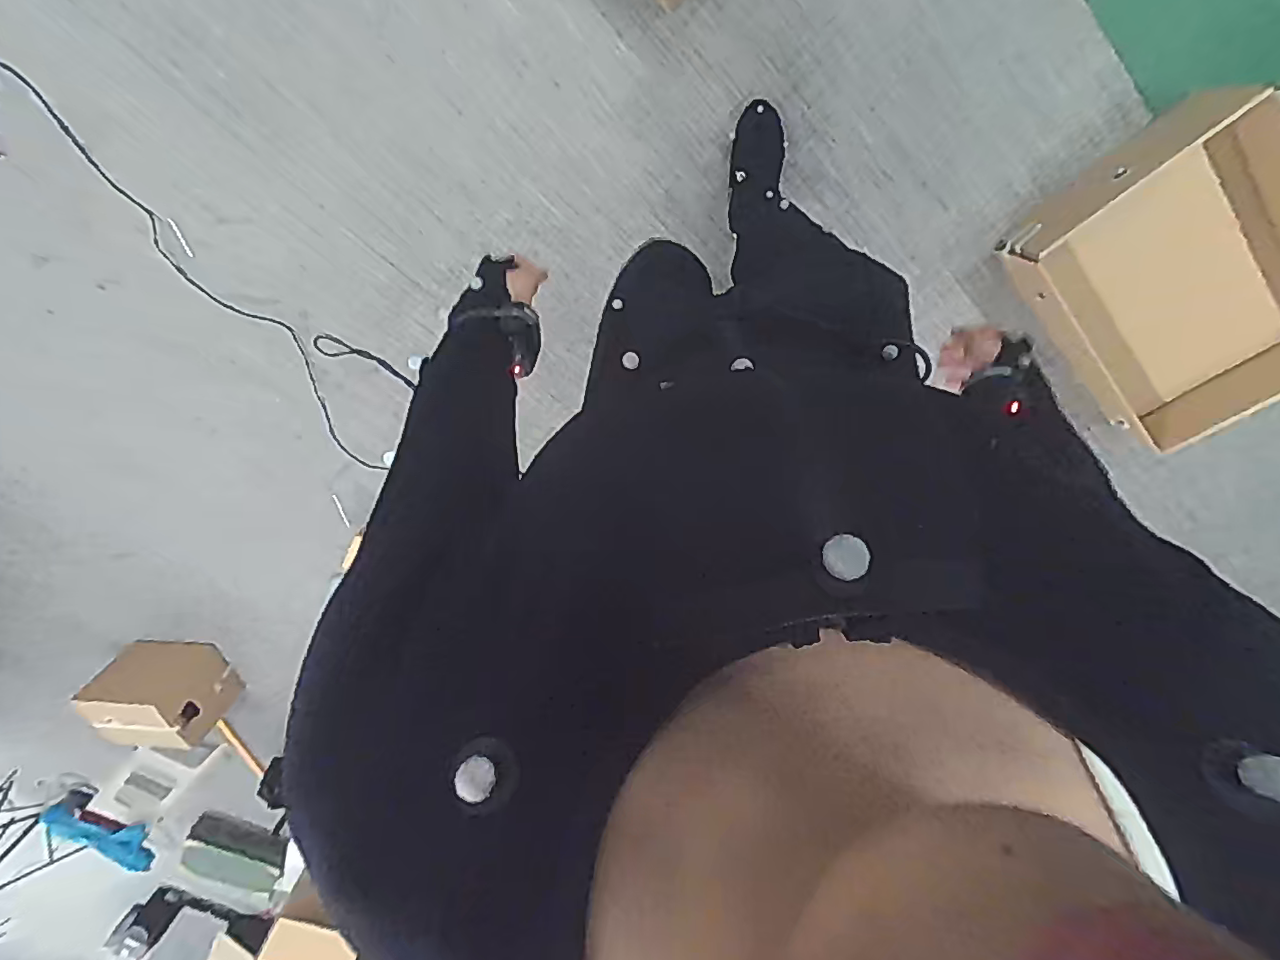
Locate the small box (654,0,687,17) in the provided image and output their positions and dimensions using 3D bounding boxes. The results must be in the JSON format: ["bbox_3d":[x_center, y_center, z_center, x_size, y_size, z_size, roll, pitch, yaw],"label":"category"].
[{"bbox_3d":[0.053,-0.940,0.912,0.168,0.176,0.179,40,120,-18],"label":"small box"}]

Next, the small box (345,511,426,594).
[{"bbox_3d":[-0.849,0.241,1.818,0.168,0.176,0.179,31,121,-13],"label":"small box"}]
